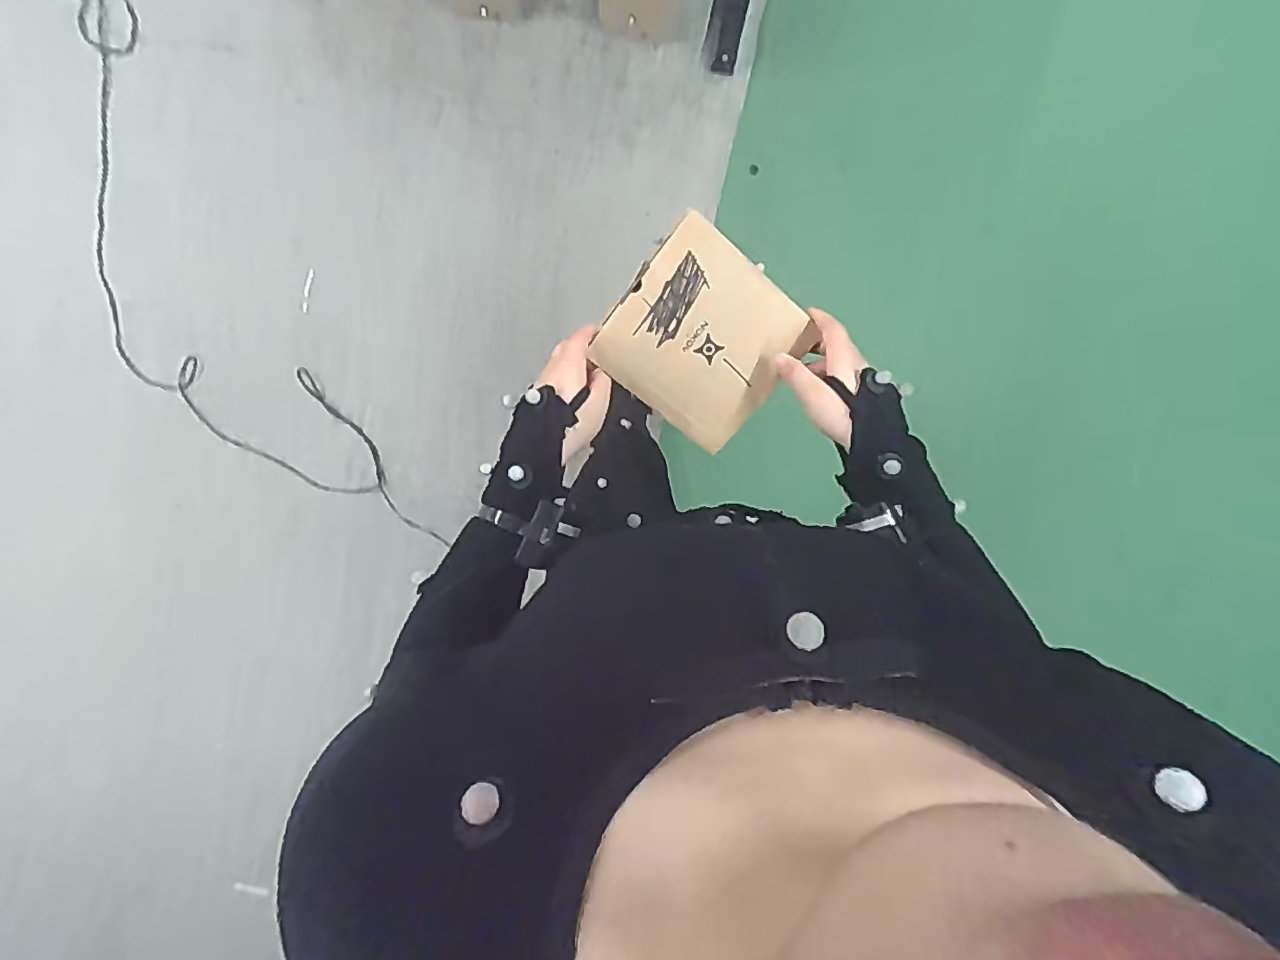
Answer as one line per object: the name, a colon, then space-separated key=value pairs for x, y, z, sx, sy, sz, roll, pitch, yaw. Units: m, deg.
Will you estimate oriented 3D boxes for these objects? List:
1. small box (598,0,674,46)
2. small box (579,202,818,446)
small box: x=-0.001 y=-1.154 z=1.249 sx=0.168 sy=0.176 sz=0.179 roll=8 pitch=96 yaw=0
small box: x=0.056 y=-0.169 z=0.598 sx=0.179 sy=0.176 sz=0.168 roll=37 pitch=107 yaw=-13
